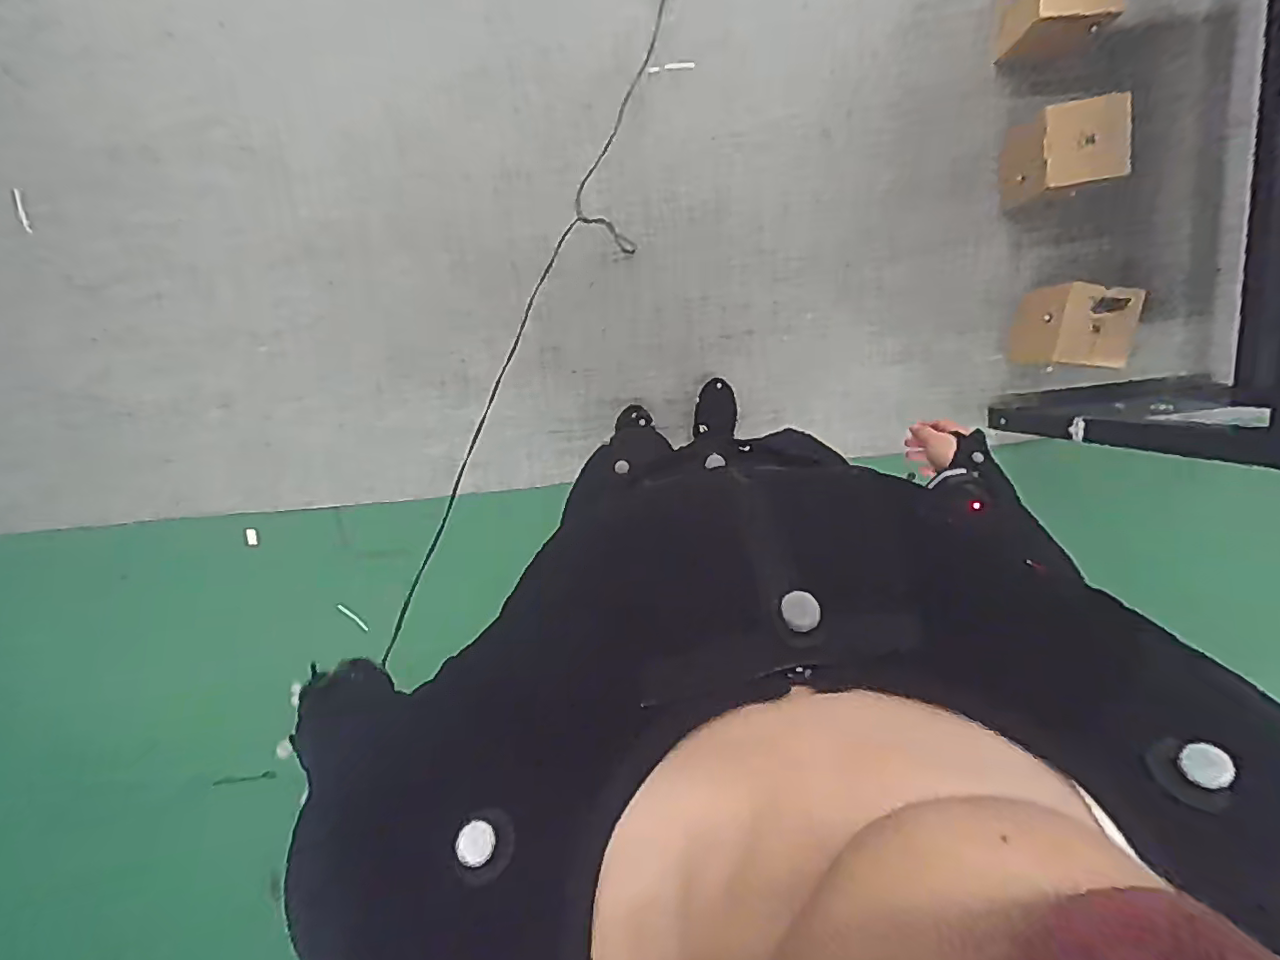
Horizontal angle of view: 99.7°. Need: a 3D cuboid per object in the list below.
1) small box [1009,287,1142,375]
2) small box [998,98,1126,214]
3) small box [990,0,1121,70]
[{"bbox_3d":[1.026,-0.350,1.293,0.168,0.176,0.179,7,101,2],"label":"small box"},{"bbox_3d":[0.950,-0.726,1.233,0.179,0.176,0.168,-8,100,3],"label":"small box"},{"bbox_3d":[0.903,-1.037,1.185,0.179,0.176,0.168,-2,99,3],"label":"small box"}]
